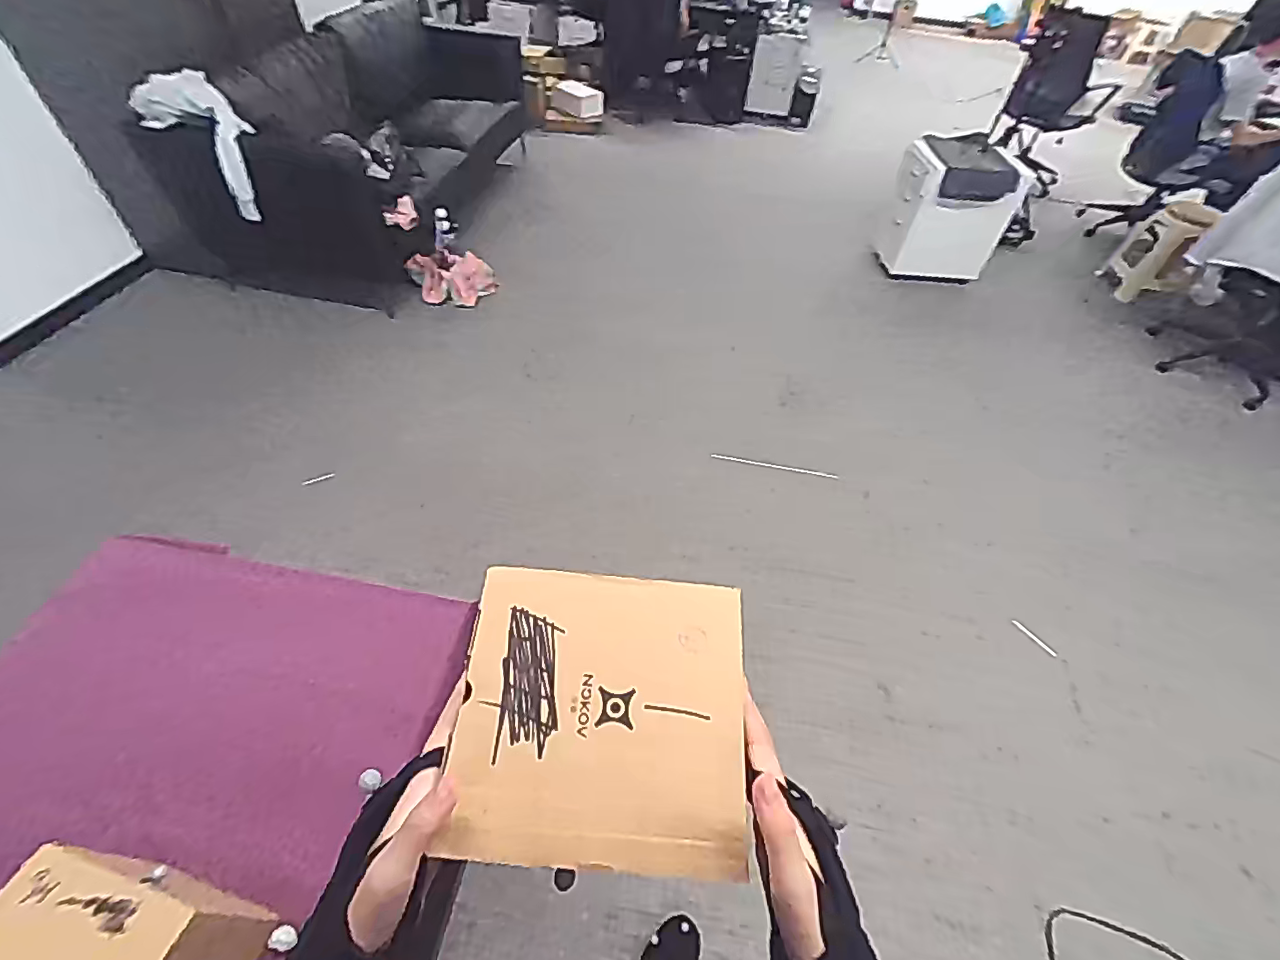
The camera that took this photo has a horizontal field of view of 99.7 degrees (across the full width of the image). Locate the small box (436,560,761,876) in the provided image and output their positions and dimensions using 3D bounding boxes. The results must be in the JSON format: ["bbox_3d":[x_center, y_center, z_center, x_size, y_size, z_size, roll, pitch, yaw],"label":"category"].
[{"bbox_3d":[-0.021,0.173,0.393,0.179,0.176,0.168,7,58,-2],"label":"small box"}]

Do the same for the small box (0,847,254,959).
[{"bbox_3d":[-0.489,0.453,0.464,0.168,0.176,0.179,16,49,7],"label":"small box"}]
